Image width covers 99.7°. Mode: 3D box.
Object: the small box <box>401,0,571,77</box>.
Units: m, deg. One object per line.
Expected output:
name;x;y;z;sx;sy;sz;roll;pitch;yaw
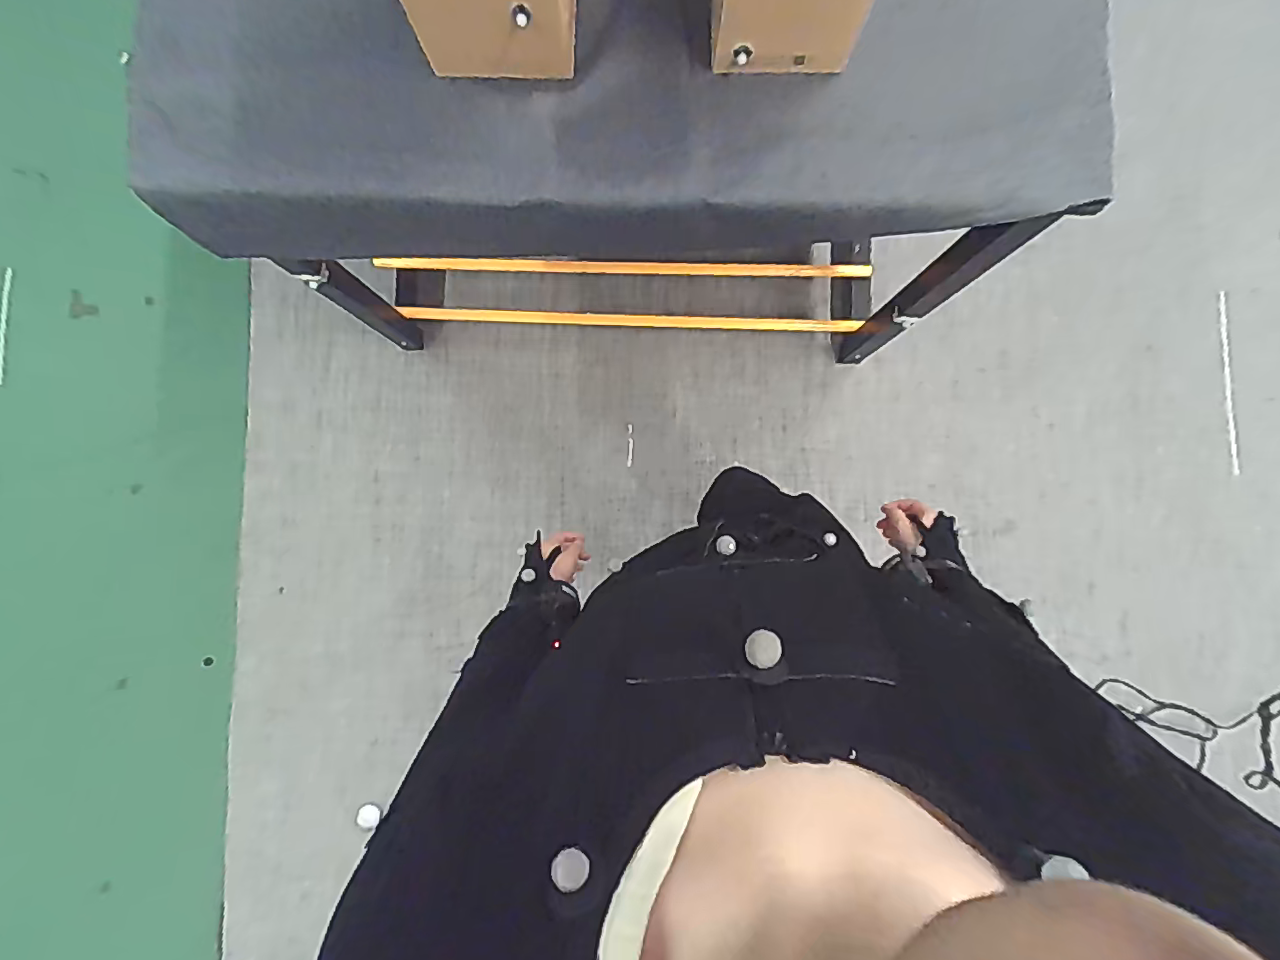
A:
small box;-0.169;-0.590;0.601;0.179;0.176;0.168;1;85;1

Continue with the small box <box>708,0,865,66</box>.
small box;0.168;-0.601;0.598;0.168;0.176;0.179;0;85;0
